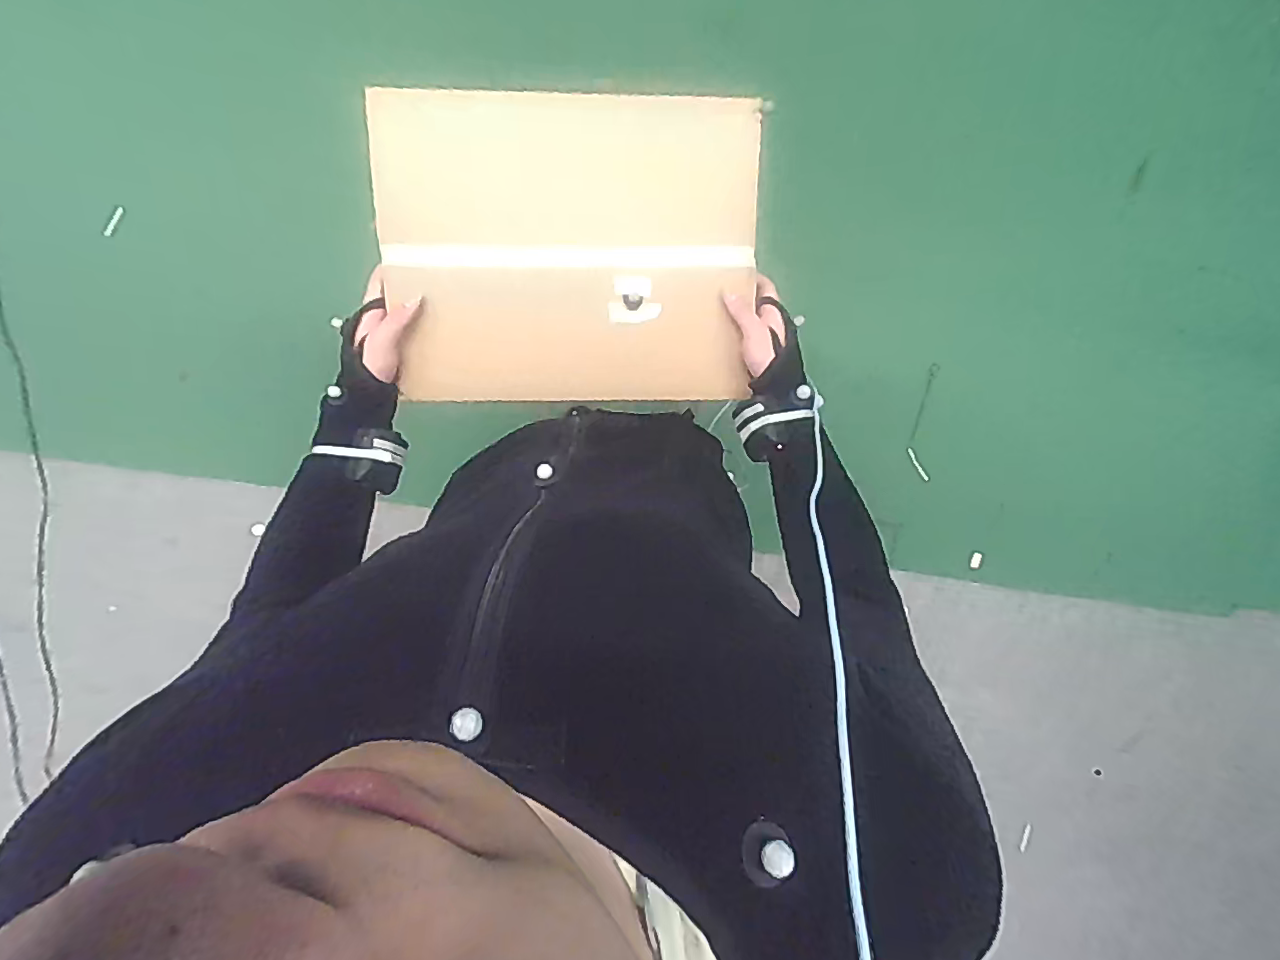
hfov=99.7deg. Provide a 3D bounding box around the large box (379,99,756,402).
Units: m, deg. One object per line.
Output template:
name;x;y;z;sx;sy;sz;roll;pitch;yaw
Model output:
large box;-0.083;-0.279;0.746;0.408;0.320;0.320;-1;104;-4
